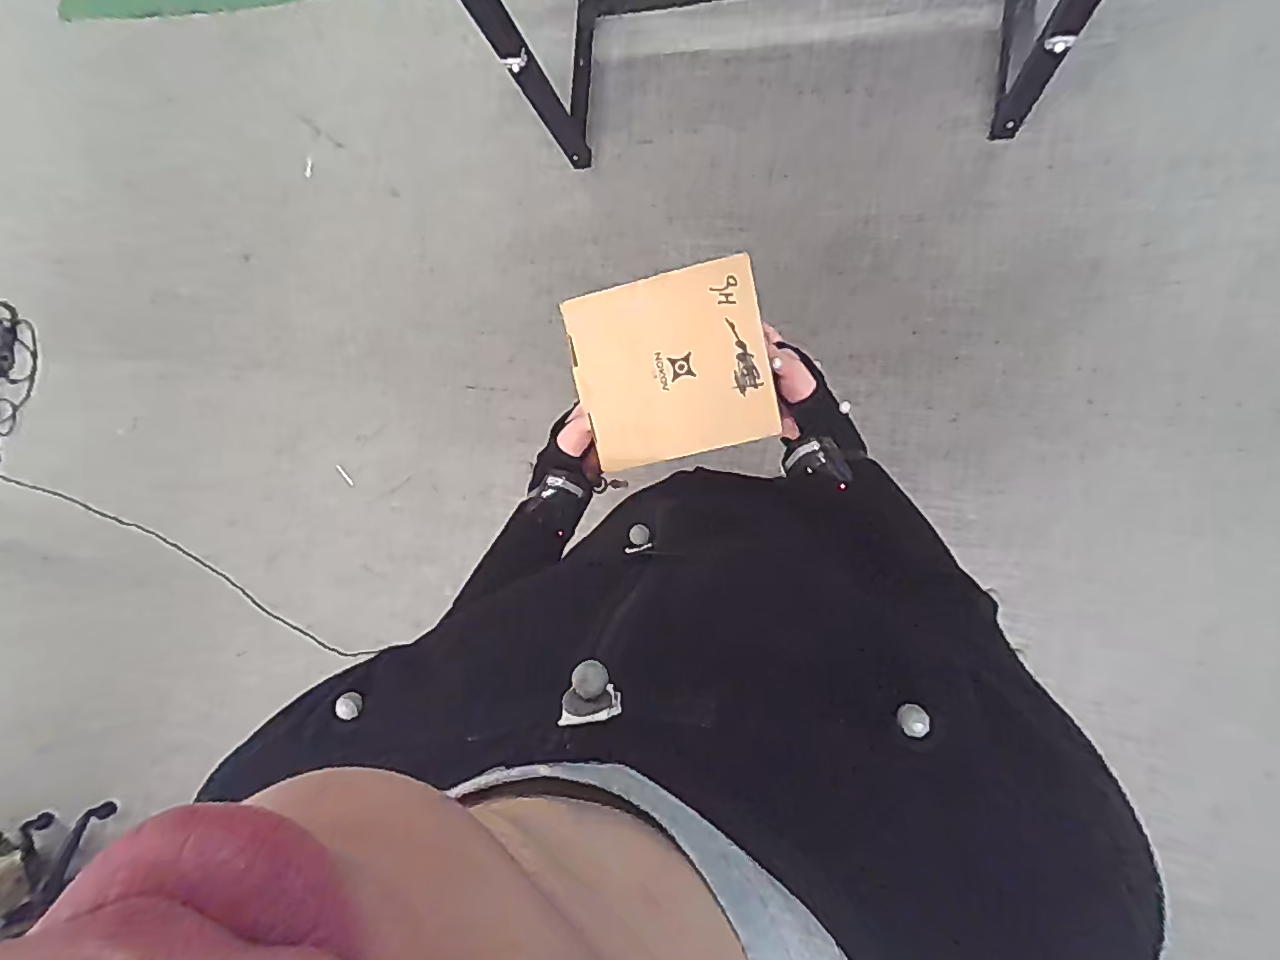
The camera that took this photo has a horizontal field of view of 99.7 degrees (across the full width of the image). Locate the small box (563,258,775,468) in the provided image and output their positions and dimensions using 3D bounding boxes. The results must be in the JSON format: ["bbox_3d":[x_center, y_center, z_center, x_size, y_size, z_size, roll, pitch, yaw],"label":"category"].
[{"bbox_3d":[0.035,-0.119,0.580,0.179,0.176,0.168,-11,101,8],"label":"small box"}]
